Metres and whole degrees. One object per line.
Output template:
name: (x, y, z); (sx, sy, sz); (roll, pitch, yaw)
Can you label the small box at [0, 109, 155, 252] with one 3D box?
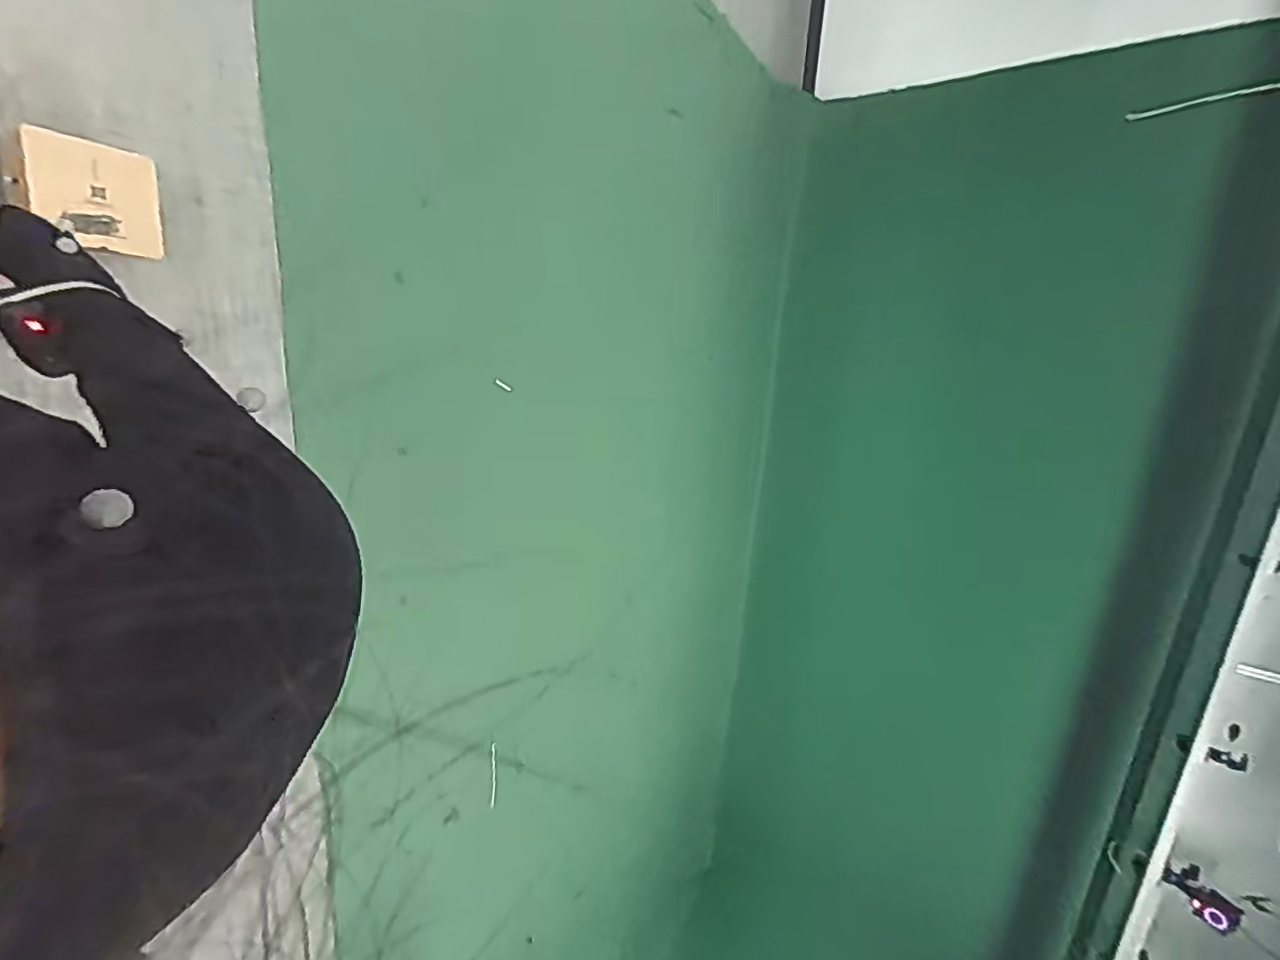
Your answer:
small box: (-0.990, -0.508, 0.950); (0.168, 0.176, 0.179); (-12, 111, -55)
